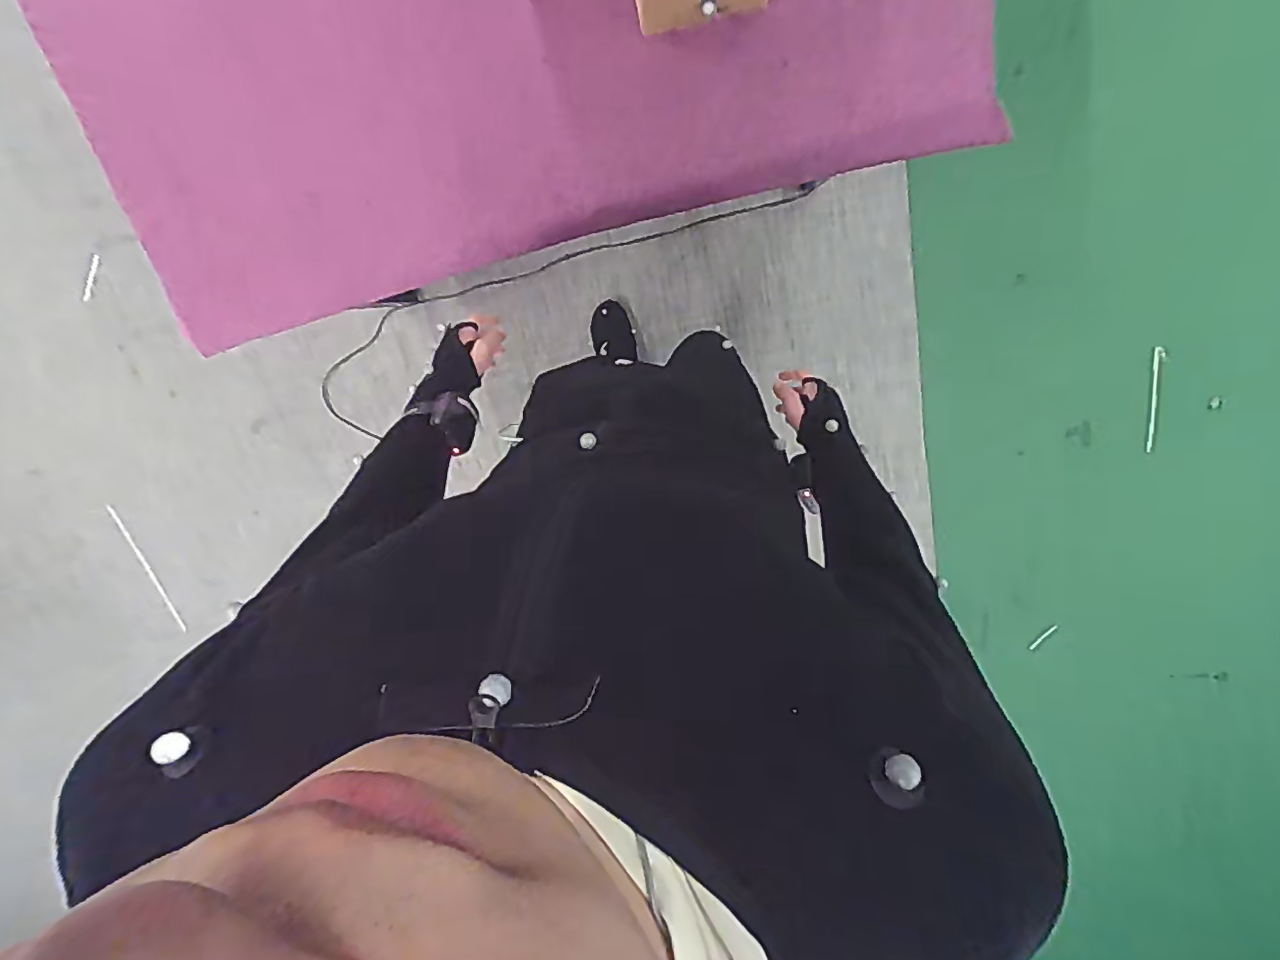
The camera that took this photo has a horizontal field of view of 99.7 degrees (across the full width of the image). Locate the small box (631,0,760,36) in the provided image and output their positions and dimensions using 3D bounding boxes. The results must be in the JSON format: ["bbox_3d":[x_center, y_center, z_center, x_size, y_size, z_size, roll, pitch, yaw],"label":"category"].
[{"bbox_3d":[0.058,-0.646,0.598,0.168,0.176,0.179,-11,108,5],"label":"small box"}]
